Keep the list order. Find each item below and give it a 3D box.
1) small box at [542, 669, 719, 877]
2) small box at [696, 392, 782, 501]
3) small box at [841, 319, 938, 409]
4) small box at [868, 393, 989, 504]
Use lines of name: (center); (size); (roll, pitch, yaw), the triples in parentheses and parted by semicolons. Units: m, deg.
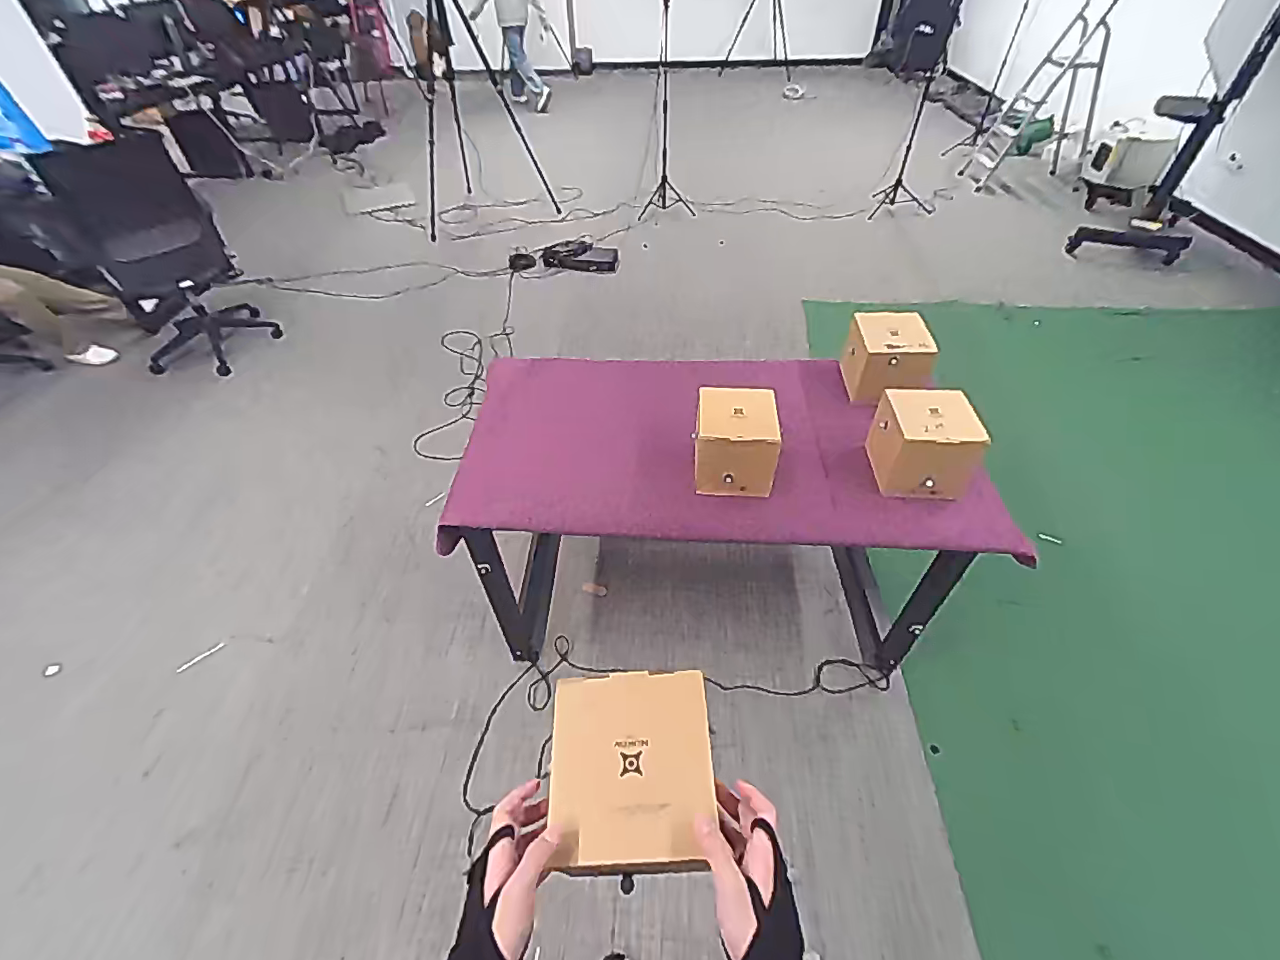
small box: (-0.005, 0.332, 0.610); (0.168, 0.176, 0.179); (-4, 51, 3)
small box: (0.212, -0.075, 1.203); (0.168, 0.176, 0.179); (3, 45, 4)
small box: (0.636, -0.301, 1.404); (0.168, 0.176, 0.179); (0, 48, 5)
small box: (0.615, -0.070, 1.181); (0.168, 0.176, 0.179); (2, 45, 5)
